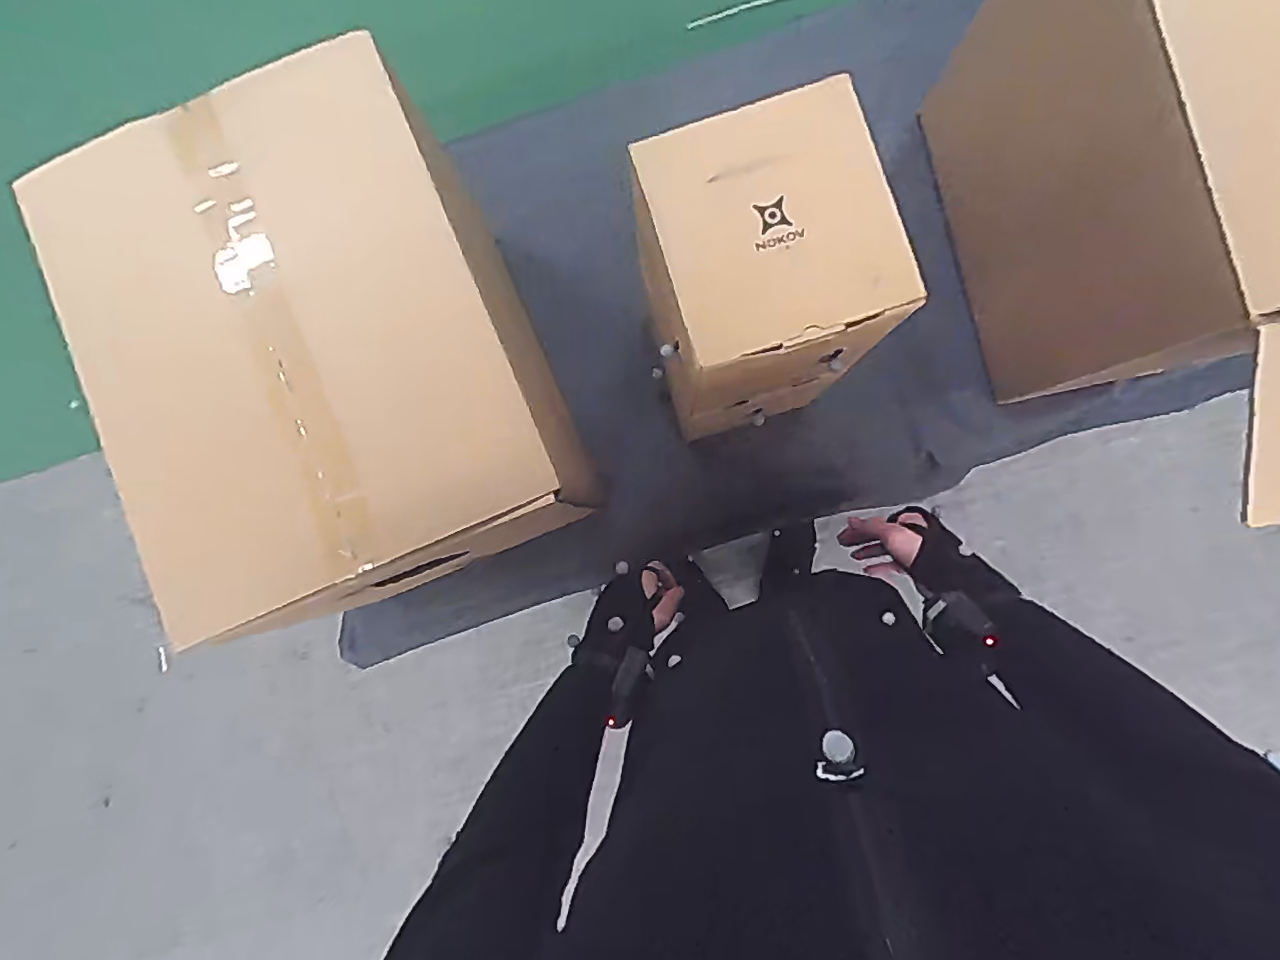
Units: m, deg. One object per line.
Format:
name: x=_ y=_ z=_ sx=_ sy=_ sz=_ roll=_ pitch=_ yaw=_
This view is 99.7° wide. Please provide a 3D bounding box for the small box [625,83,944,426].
small box: x=0.096 y=-0.150 z=0.431 sx=0.168 sy=0.176 sz=0.179 roll=-18 pitch=85 yaw=1
